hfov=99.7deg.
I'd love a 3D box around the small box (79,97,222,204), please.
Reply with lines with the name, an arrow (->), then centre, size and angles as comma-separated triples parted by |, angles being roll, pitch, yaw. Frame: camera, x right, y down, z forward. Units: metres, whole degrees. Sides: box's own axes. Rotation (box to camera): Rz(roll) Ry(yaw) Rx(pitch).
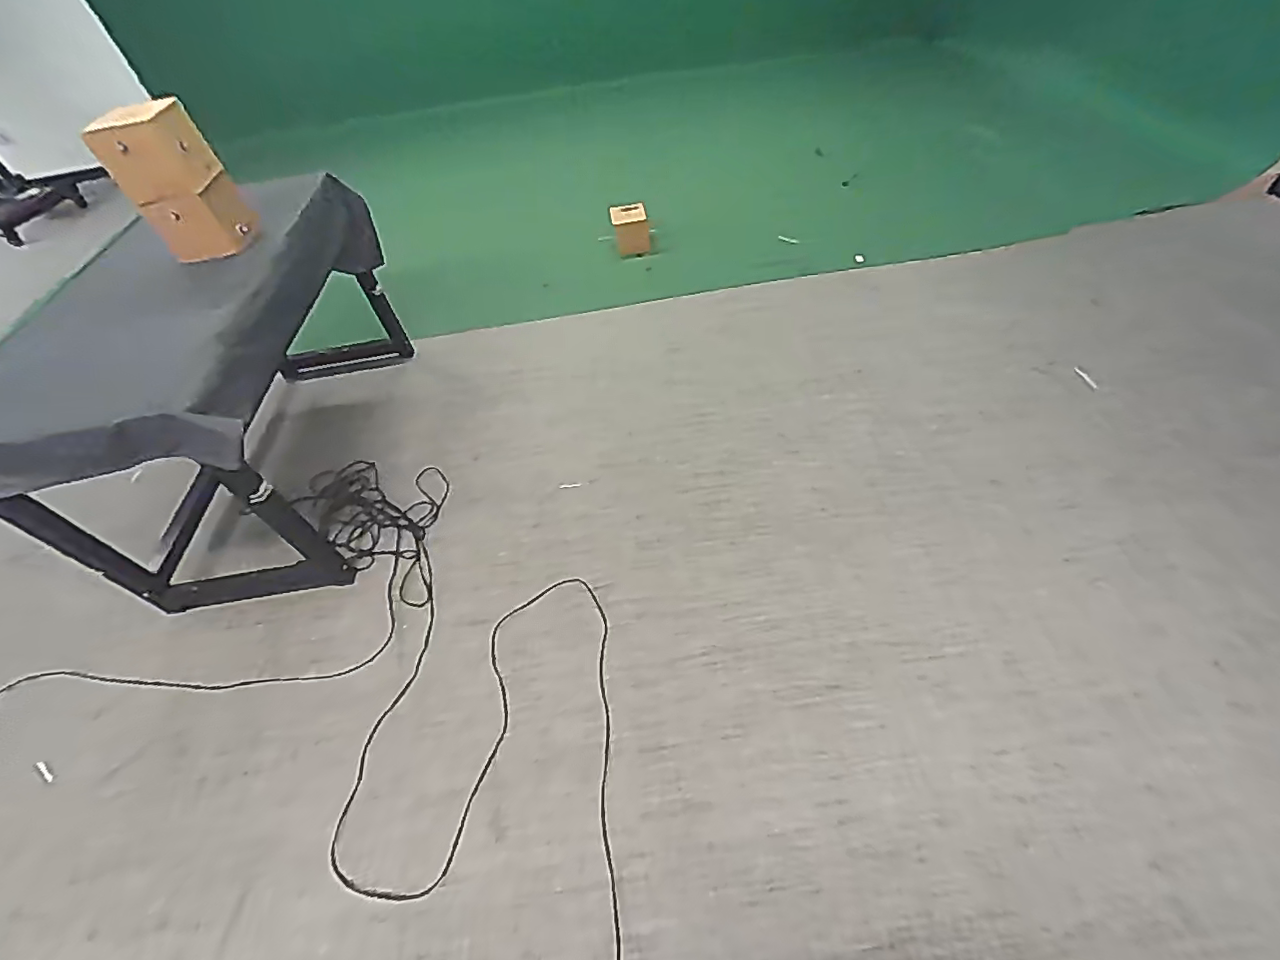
small box -> -1.209, -0.822, 1.356 | 0.179, 0.176, 0.168 | -10, 51, 2

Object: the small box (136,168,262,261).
small box -> -1.198, -0.723, 1.485 | 0.179, 0.176, 0.168 | -8, 51, 1
